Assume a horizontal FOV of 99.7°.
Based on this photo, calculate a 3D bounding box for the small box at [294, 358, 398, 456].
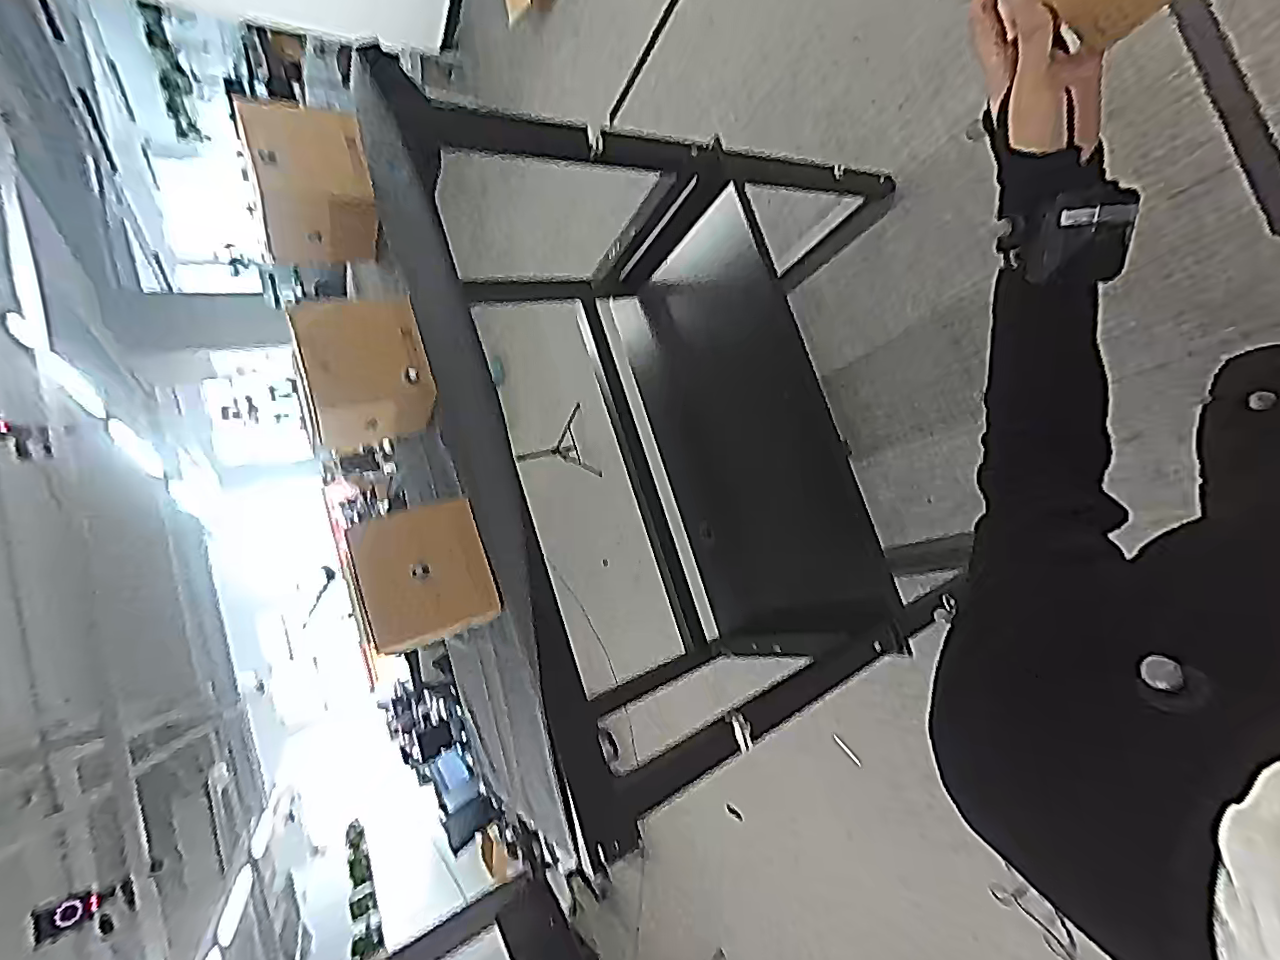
[{"bbox_3d":[-0.605,-0.159,1.129,0.179,0.176,0.168,-19,85,58],"label":"small box"}]

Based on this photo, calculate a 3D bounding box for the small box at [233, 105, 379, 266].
[{"bbox_3d":[-0.549,-0.480,0.908,0.179,0.176,0.168,-29,78,58],"label":"small box"}]

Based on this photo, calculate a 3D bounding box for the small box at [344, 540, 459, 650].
[{"bbox_3d":[-0.471,0.228,1.072,0.179,0.176,0.168,-30,76,57],"label":"small box"}]

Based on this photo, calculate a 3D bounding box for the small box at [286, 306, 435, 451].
[{"bbox_3d":[-0.438,-0.162,0.863,0.179,0.176,0.168,-29,78,60],"label":"small box"}]
